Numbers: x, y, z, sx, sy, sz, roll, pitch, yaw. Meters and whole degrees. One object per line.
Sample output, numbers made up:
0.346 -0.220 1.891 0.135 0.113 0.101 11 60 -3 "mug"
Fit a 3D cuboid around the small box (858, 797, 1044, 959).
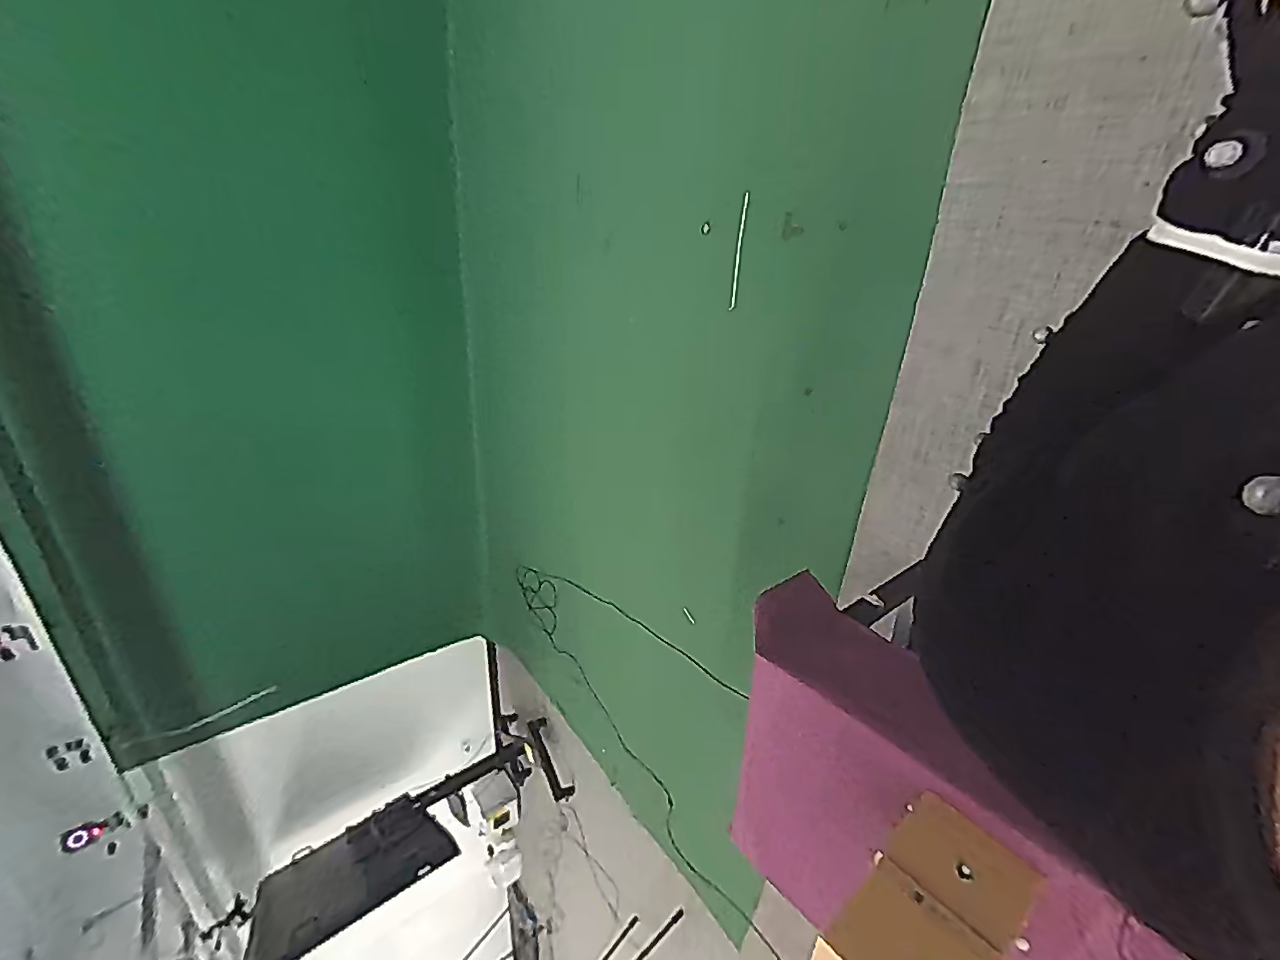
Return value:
0.476 0.633 0.837 0.179 0.176 0.168 29 125 44 "small box"
